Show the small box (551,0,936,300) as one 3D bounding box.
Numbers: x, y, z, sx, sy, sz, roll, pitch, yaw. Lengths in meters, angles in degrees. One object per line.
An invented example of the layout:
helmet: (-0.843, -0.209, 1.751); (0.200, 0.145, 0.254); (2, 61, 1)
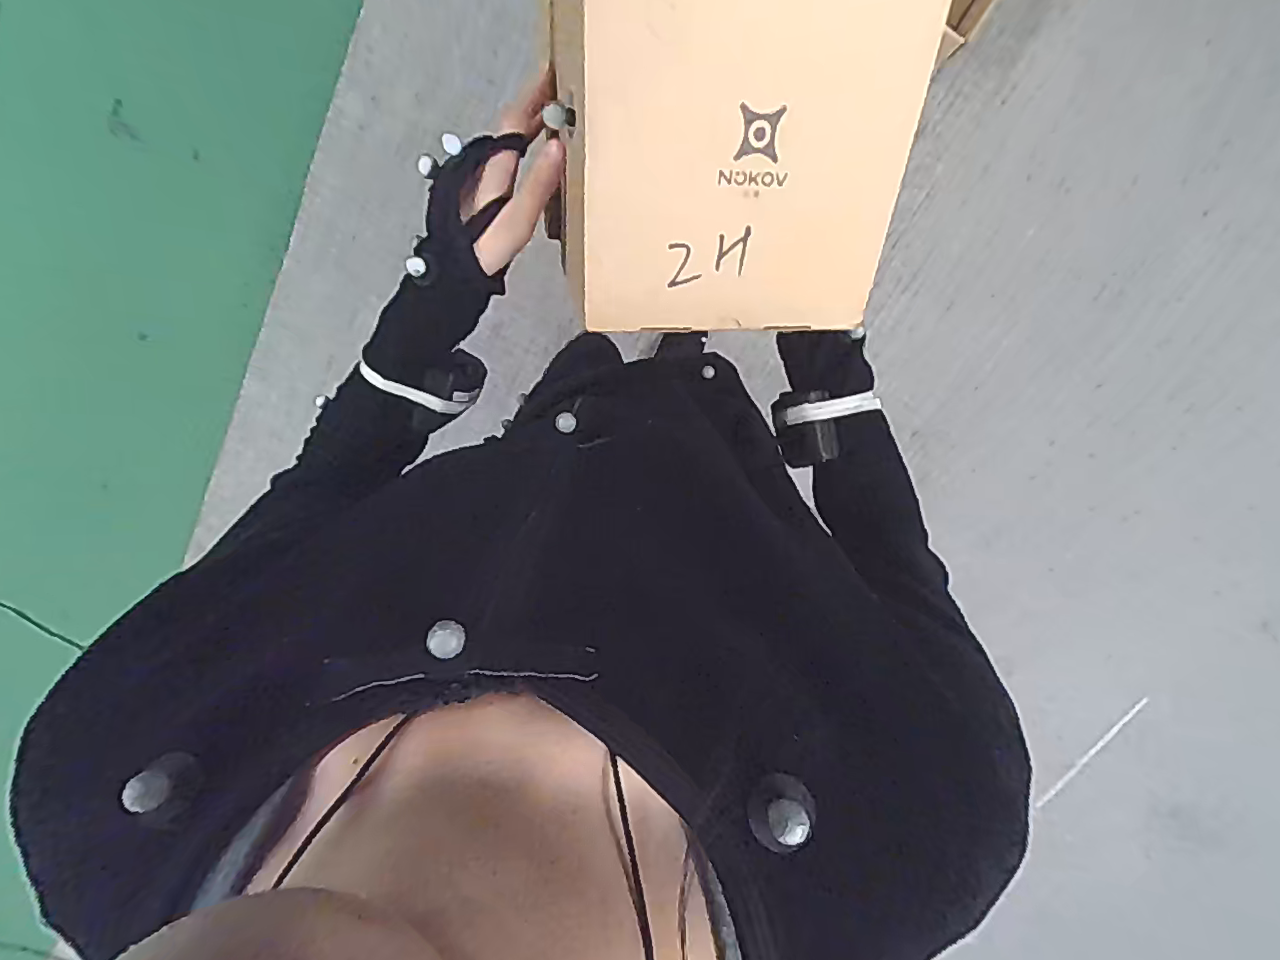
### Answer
small box: (0.035, -0.217, 0.321); (0.168, 0.176, 0.179); (-3, 124, -10)
